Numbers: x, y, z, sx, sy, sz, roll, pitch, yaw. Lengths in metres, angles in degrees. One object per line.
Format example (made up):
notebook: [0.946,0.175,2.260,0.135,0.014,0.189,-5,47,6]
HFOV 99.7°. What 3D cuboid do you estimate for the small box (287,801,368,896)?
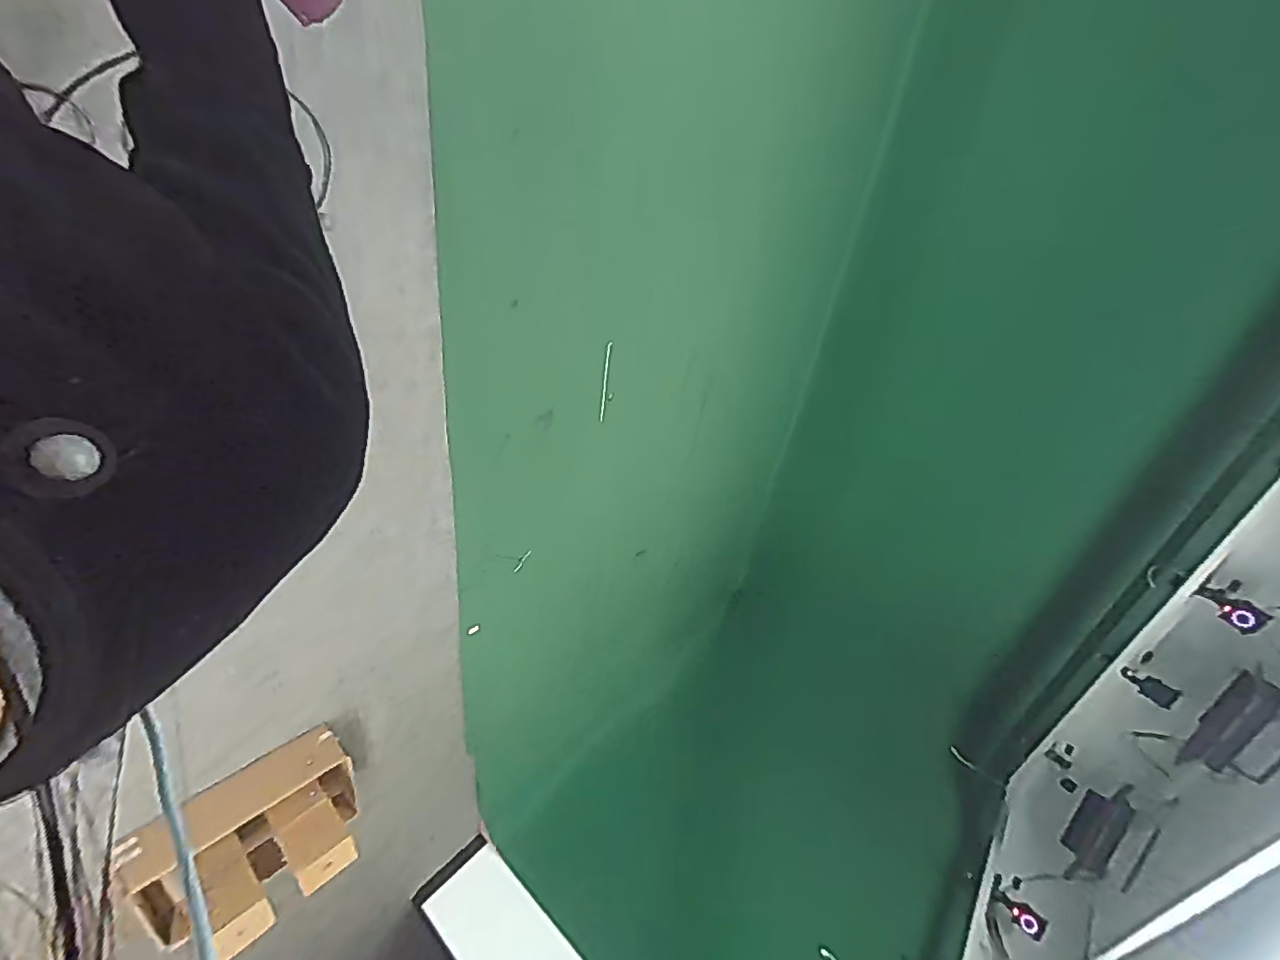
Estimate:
small box: [-1.069,1.255,1.854,0.179,0.176,0.168,-26,134,-42]

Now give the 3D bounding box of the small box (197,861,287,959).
small box: [-1.236,1.337,1.679,0.168,0.176,0.179,-25,134,-45]
